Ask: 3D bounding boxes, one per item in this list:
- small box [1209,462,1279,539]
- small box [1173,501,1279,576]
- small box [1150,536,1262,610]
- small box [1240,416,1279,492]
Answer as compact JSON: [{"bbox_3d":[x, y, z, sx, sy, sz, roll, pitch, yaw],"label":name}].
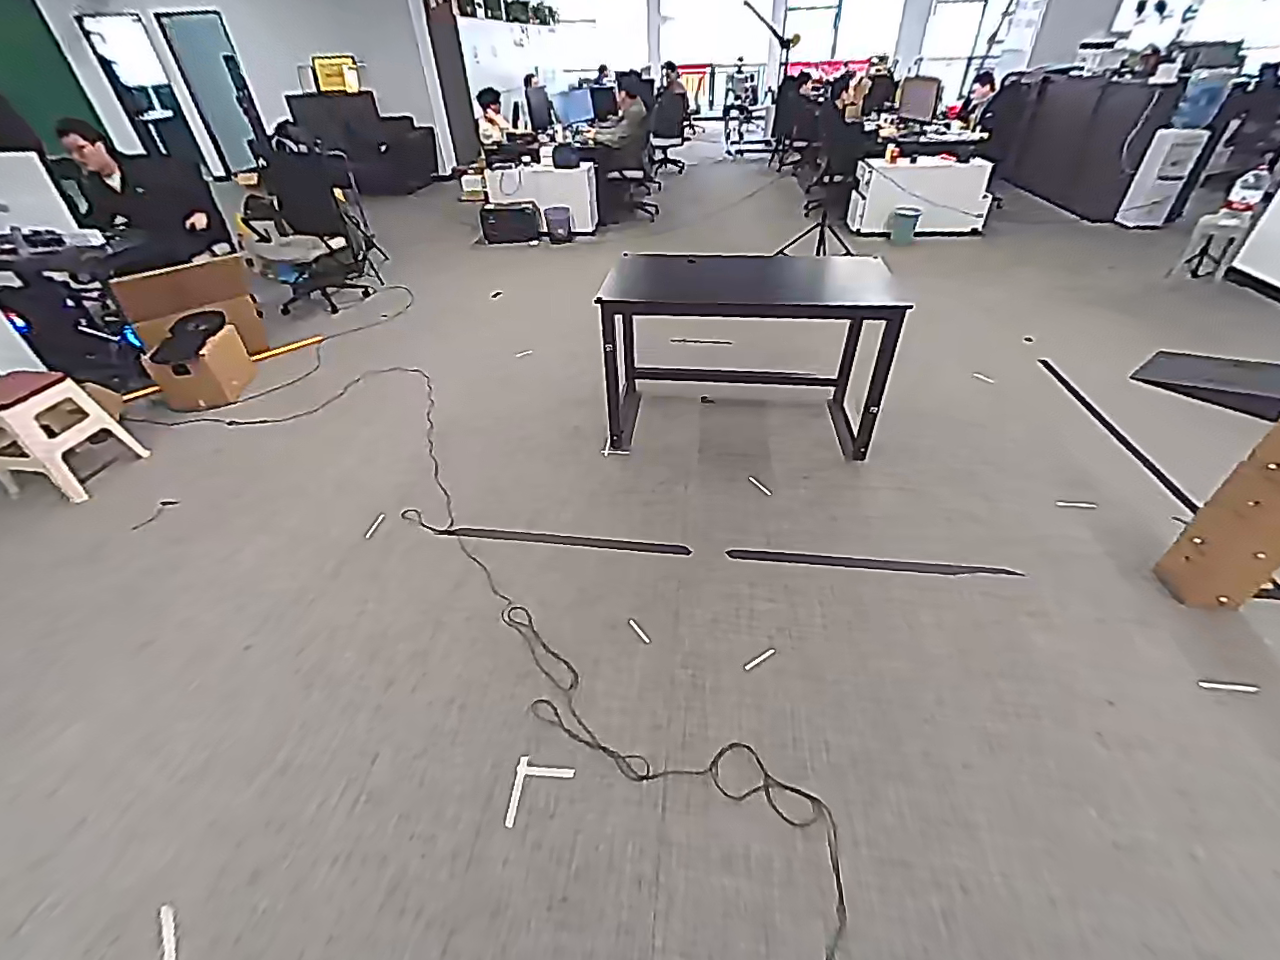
[{"bbox_3d":[1.882,0.064,1.620,0.179,0.176,0.168,3,40,6],"label":"small box"},{"bbox_3d":[1.886,0.188,1.724,0.179,0.176,0.168,2,39,7],"label":"small box"},{"bbox_3d":[1.898,0.315,1.829,0.168,0.176,0.179,3,40,7],"label":"small box"},{"bbox_3d":[1.880,-0.062,1.514,0.168,0.176,0.179,2,41,6],"label":"small box"}]
